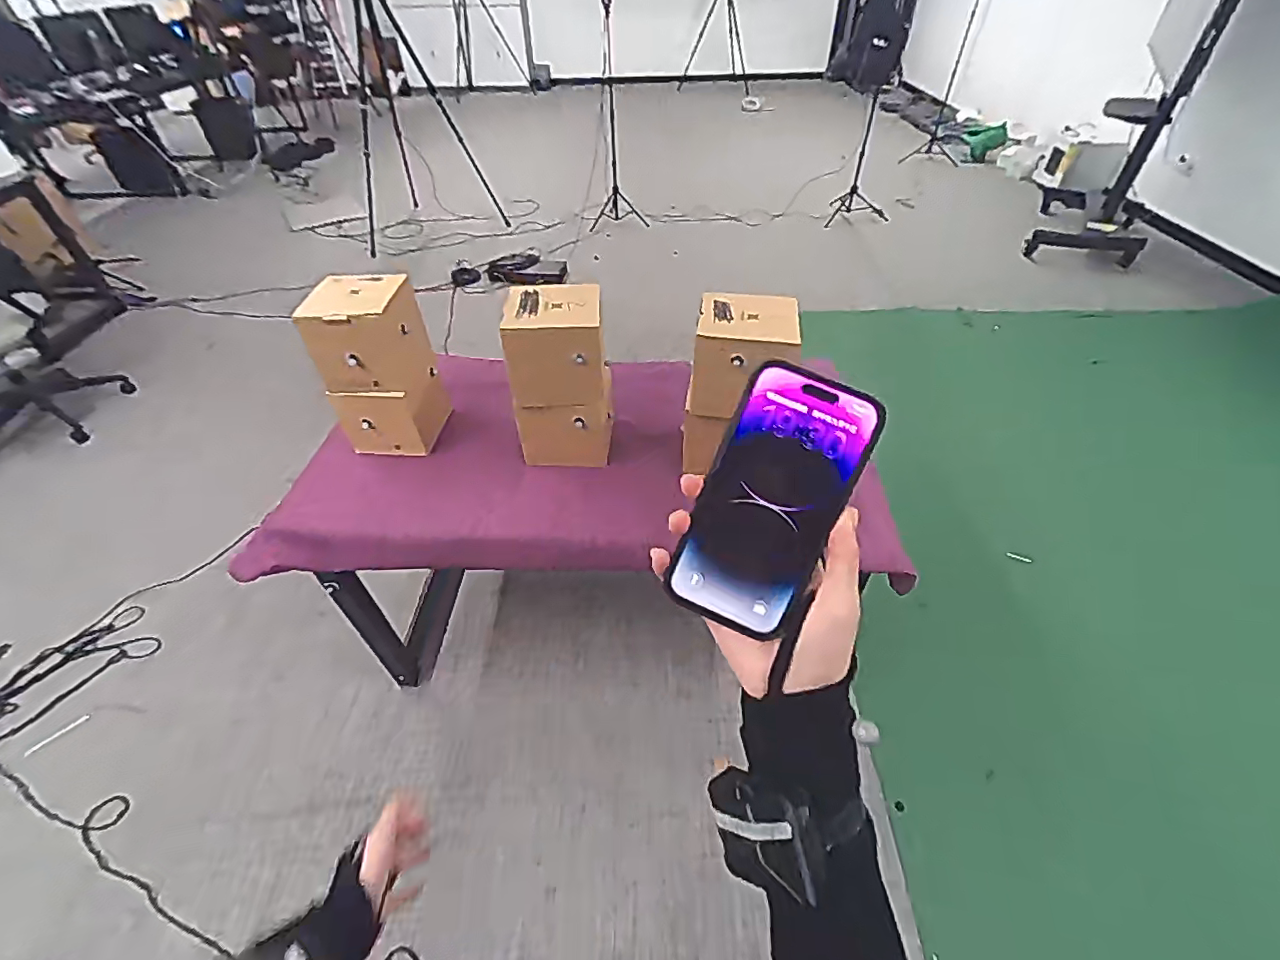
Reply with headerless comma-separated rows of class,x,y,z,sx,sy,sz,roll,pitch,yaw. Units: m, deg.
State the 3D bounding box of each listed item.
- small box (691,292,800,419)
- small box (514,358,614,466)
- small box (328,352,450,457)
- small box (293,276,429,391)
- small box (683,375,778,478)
small box,0.190,-0.228,0.998,0.179,0.176,0.168,6,44,7
small box,-0.152,-0.142,1.155,0.179,0.176,0.168,1,44,4
small box,-0.540,-0.167,1.196,0.168,0.176,0.179,2,44,4
small box,-0.544,-0.291,1.087,0.168,0.176,0.179,-1,45,0
small box,0.187,-0.122,1.123,0.179,0.176,0.168,6,44,9
